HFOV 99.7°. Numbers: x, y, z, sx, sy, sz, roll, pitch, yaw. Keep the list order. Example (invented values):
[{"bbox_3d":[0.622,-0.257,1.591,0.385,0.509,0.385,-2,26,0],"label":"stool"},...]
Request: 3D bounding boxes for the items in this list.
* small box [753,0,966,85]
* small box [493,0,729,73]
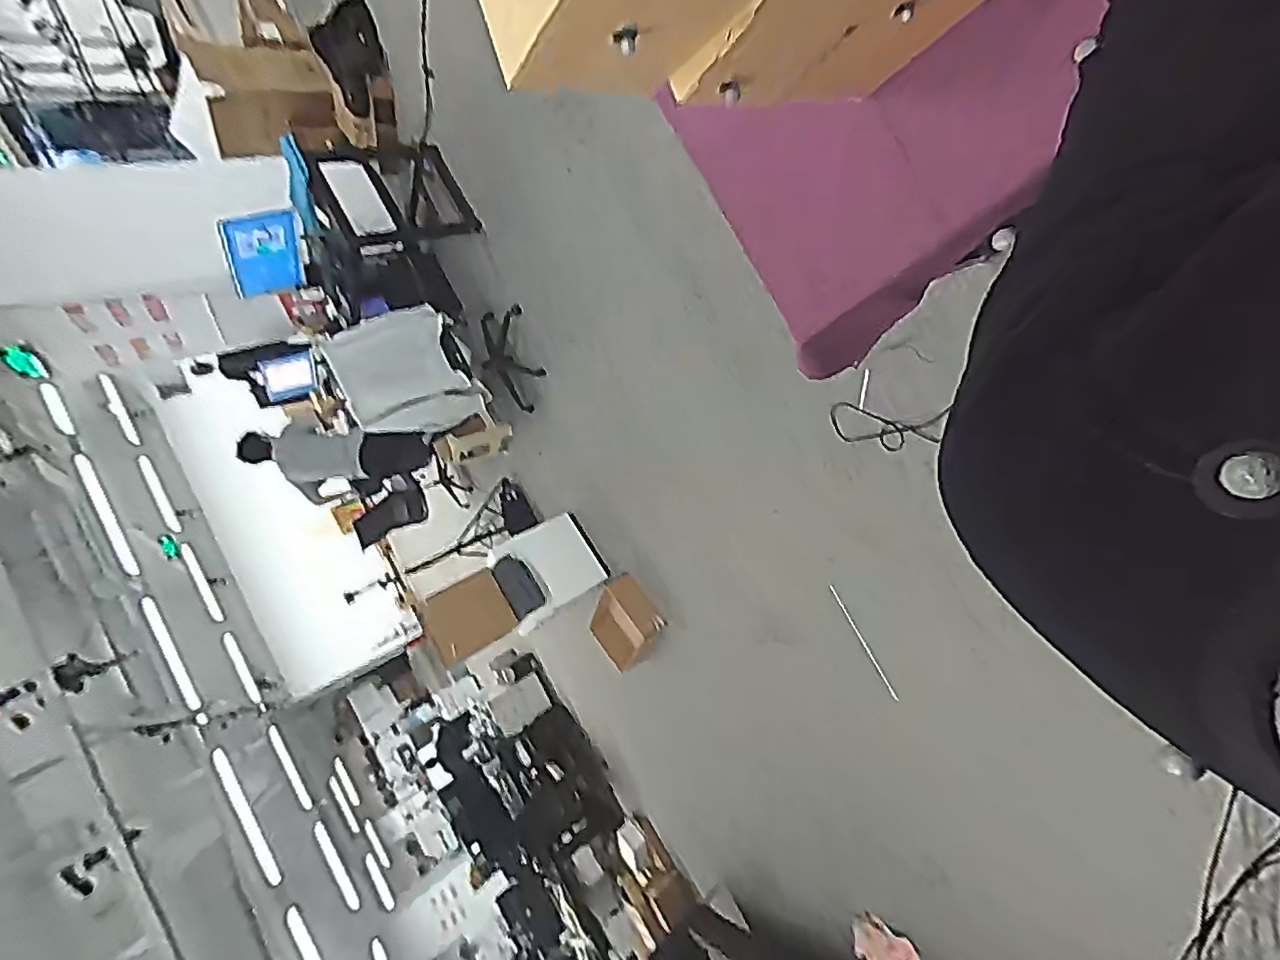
[{"bbox_3d":[0.242,-0.567,0.588,0.179,0.176,0.168,-14,100,56],"label":"small box"},{"bbox_3d":[-0.020,-0.457,0.421,0.179,0.176,0.168,-2,109,55],"label":"small box"}]
